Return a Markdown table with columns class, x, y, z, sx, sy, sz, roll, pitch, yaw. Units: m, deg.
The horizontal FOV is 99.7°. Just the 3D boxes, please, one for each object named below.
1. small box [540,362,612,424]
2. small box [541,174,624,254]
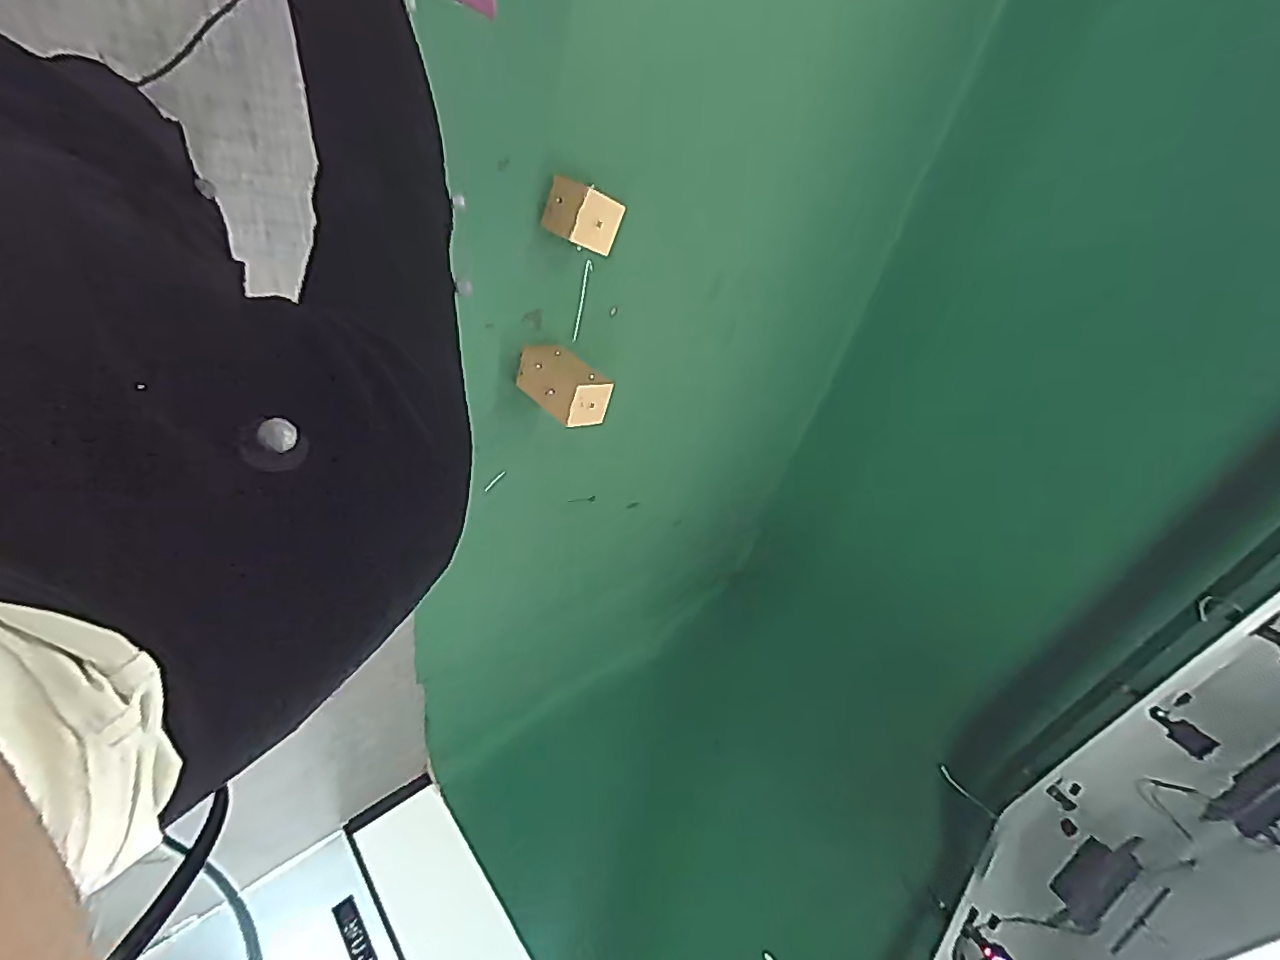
| class | x | y | z | sx | sy | sz | roll | pitch | yaw |
| --- | --- | --- | --- | --- | --- | --- | --- | --- | --- |
| small box | -0.236 | -0.321 | 1.970 | 0.179 | 0.176 | 0.168 | -13 | 132 | -45 |
| small box | -0.191 | -0.873 | 1.771 | 0.179 | 0.176 | 0.168 | -2 | 124 | -49 |
